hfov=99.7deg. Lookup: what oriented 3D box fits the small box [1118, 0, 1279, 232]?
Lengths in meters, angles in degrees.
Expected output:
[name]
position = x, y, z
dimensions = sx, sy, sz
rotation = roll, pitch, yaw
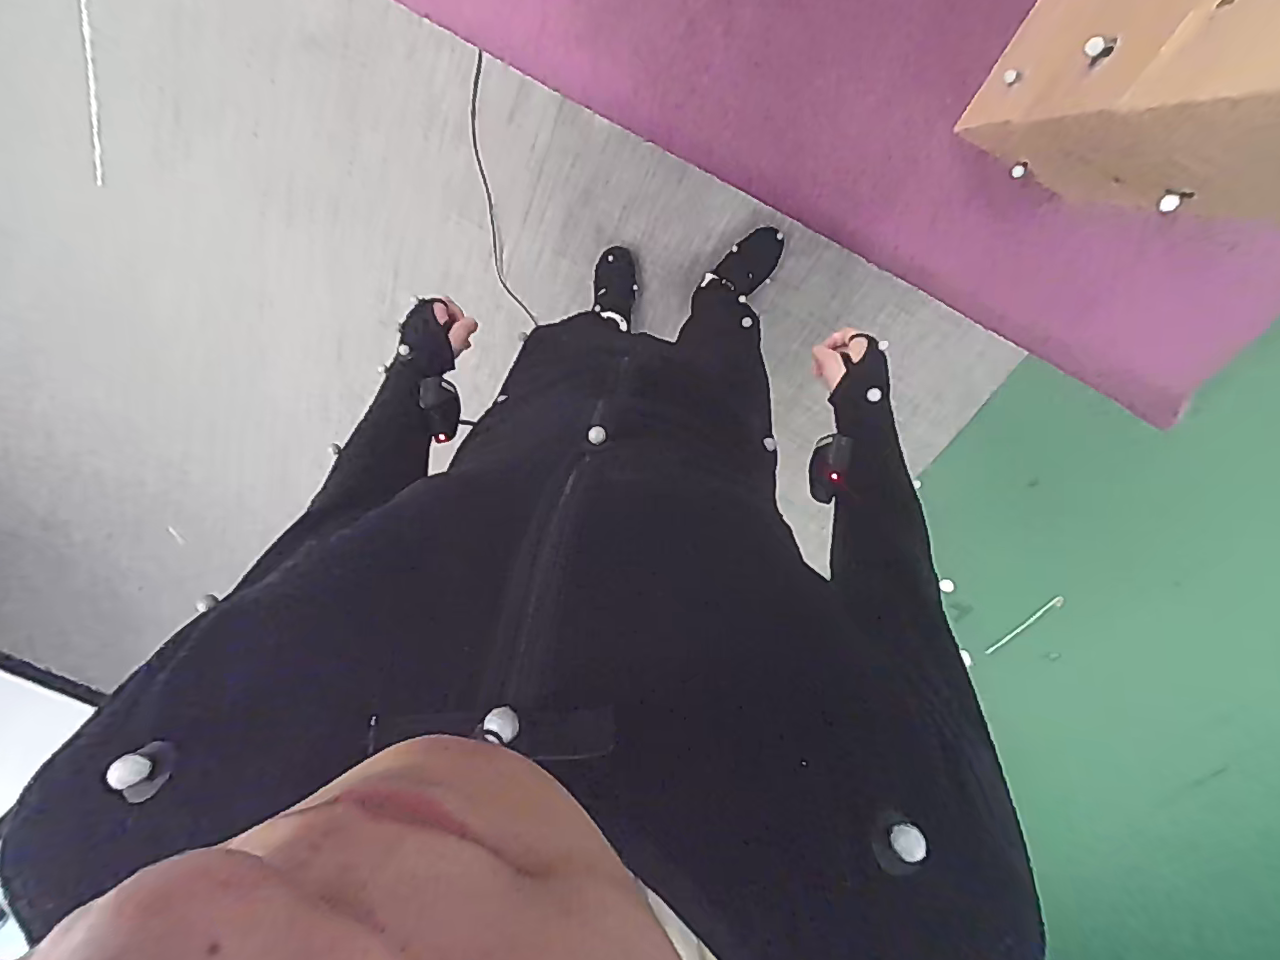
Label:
[small box]
position = 0.403, -0.219, 0.253
dimensions = 0.179, 0.176, 0.168
rotation = 29, 120, -5
